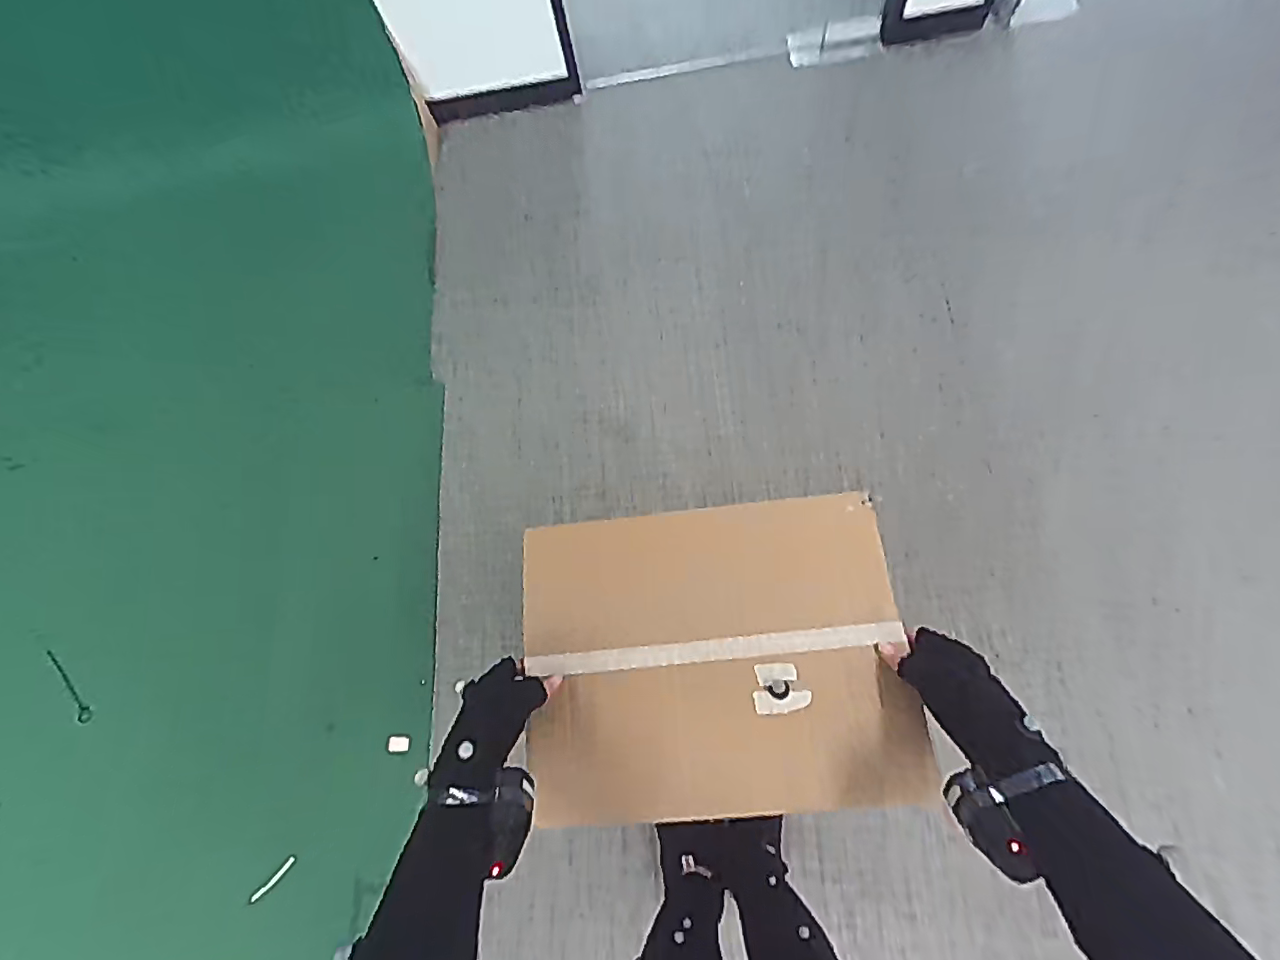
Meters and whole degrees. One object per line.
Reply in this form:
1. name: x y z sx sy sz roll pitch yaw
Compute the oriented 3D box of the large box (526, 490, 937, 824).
1. large box: 0.087 0.230 0.713 0.408 0.320 0.320 -6 68 4
